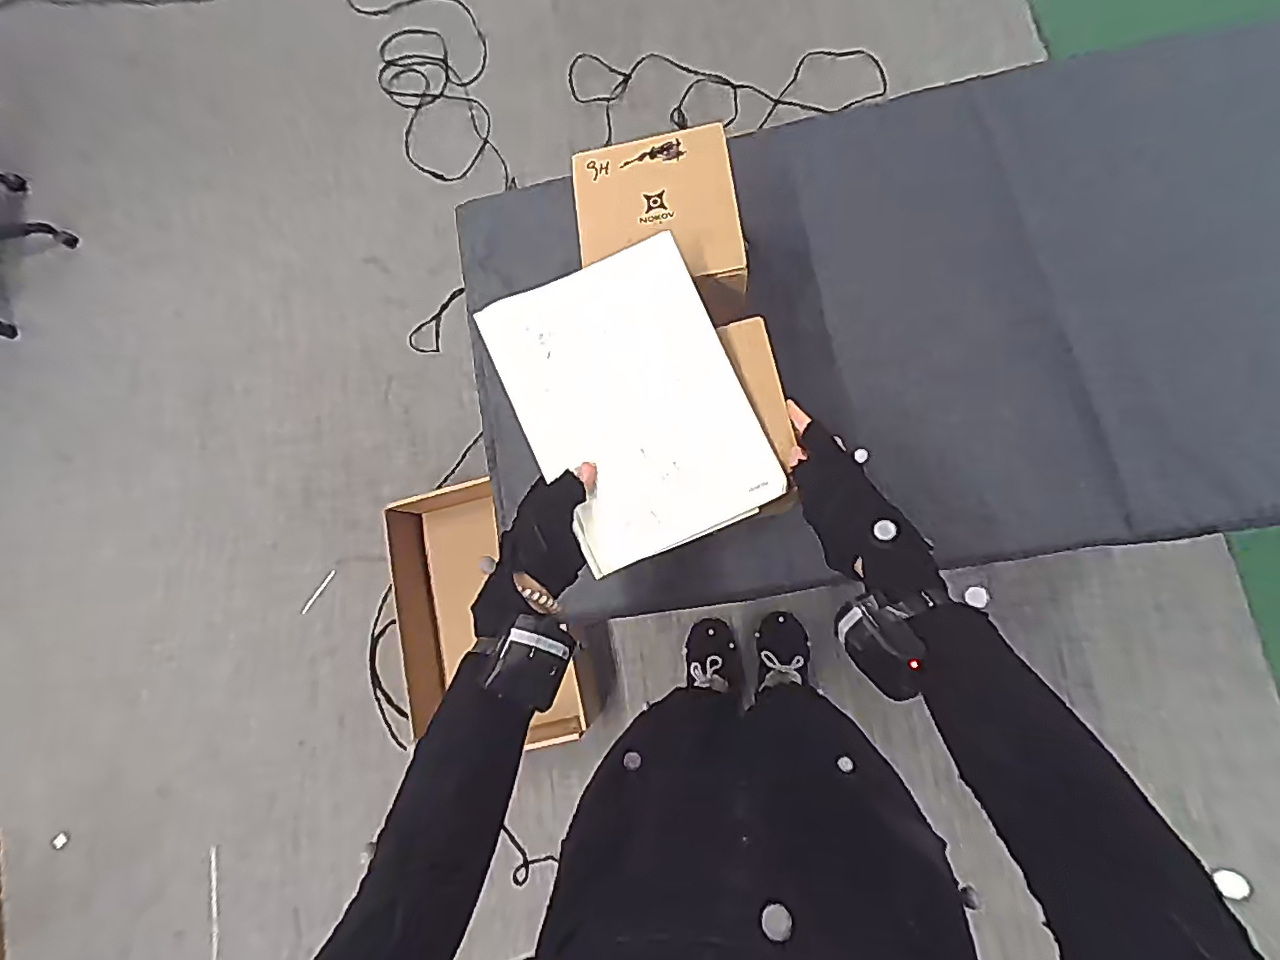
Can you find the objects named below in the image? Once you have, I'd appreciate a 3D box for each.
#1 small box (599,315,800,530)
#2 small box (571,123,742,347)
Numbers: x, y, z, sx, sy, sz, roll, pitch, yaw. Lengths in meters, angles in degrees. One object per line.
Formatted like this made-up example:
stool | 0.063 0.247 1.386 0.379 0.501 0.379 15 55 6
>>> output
small box | 0.064 -0.045 0.586 0.168 0.176 0.179 -12 78 6
small box | 0.026 -0.265 0.636 0.168 0.176 0.179 -8 80 7
